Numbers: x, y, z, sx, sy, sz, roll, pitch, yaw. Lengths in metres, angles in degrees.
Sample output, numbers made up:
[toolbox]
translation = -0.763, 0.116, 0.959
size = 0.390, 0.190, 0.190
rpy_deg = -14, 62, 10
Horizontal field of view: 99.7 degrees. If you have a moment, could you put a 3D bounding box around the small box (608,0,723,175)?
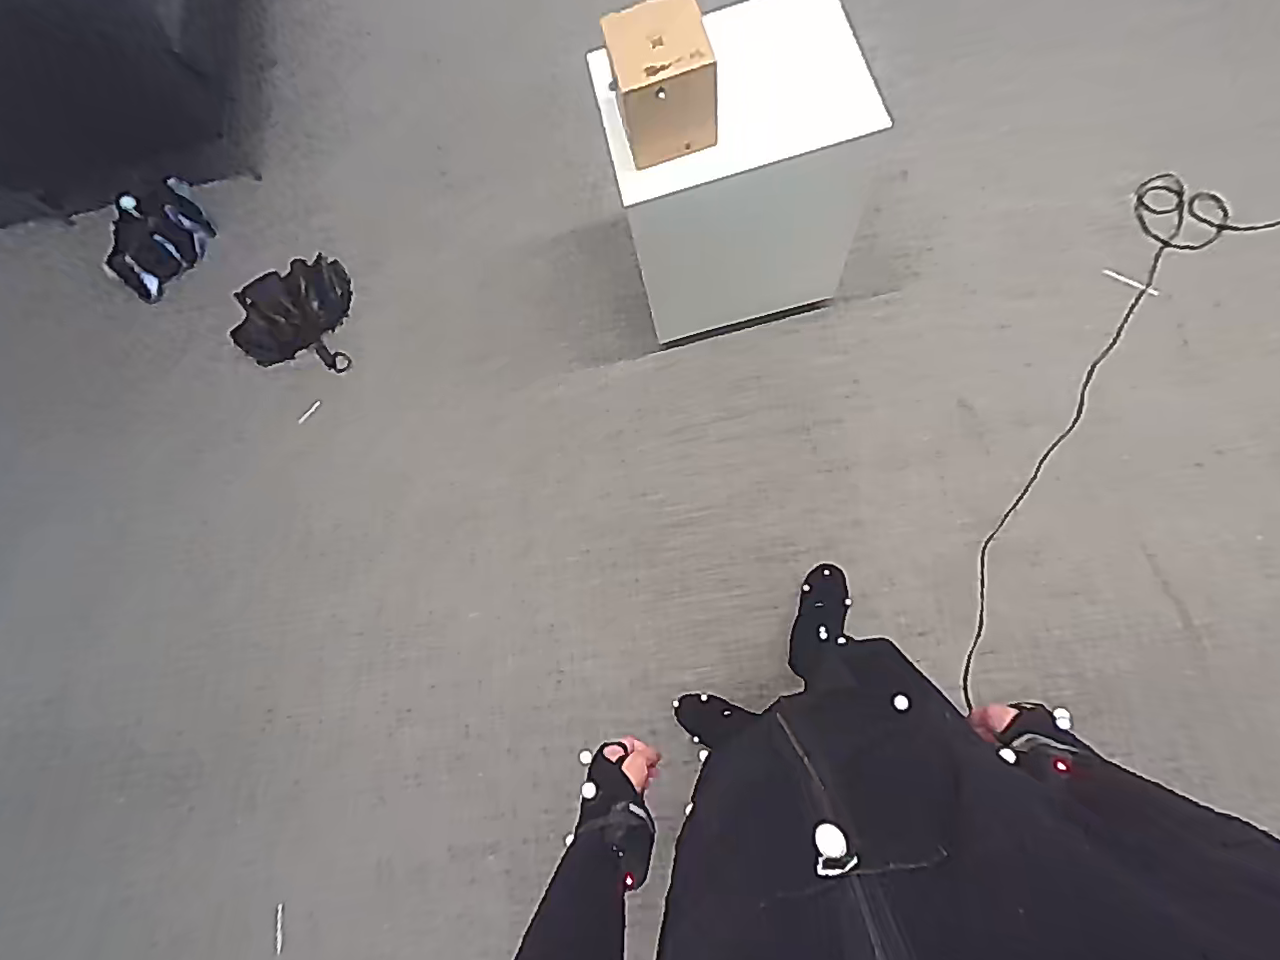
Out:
[small box]
translation = 0.050, -0.705, 0.988
size = 0.168, 0.176, 0.179
rpy_deg = -15, 73, 6
